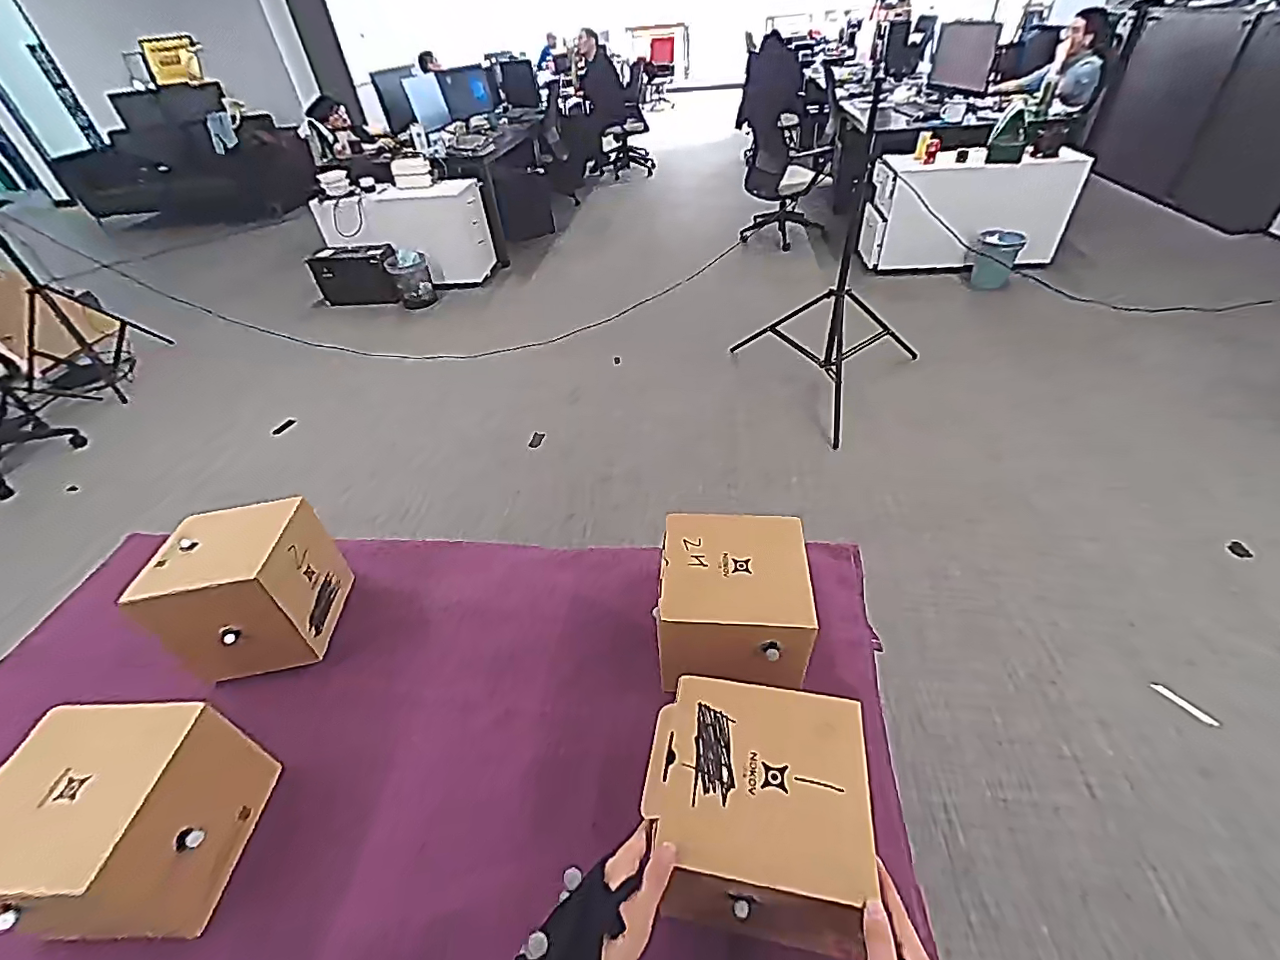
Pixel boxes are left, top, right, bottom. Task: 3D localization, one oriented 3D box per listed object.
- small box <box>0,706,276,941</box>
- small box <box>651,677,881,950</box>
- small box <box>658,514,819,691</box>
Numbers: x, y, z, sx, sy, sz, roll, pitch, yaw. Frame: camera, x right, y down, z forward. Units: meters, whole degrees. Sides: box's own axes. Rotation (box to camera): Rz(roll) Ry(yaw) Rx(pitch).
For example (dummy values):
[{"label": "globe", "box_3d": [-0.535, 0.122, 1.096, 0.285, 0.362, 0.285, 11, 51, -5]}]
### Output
[{"label": "small box", "box_3d": [-0.529, 0.352, 0.557, 0.179, 0.176, 0.168, -3, 40, 3]}, {"label": "small box", "box_3d": [0.115, 0.318, 0.520, 0.179, 0.176, 0.168, 4, 41, 11]}, {"label": "small box", "box_3d": [0.118, 0.162, 0.697, 0.179, 0.176, 0.168, 1, 42, 7]}]
